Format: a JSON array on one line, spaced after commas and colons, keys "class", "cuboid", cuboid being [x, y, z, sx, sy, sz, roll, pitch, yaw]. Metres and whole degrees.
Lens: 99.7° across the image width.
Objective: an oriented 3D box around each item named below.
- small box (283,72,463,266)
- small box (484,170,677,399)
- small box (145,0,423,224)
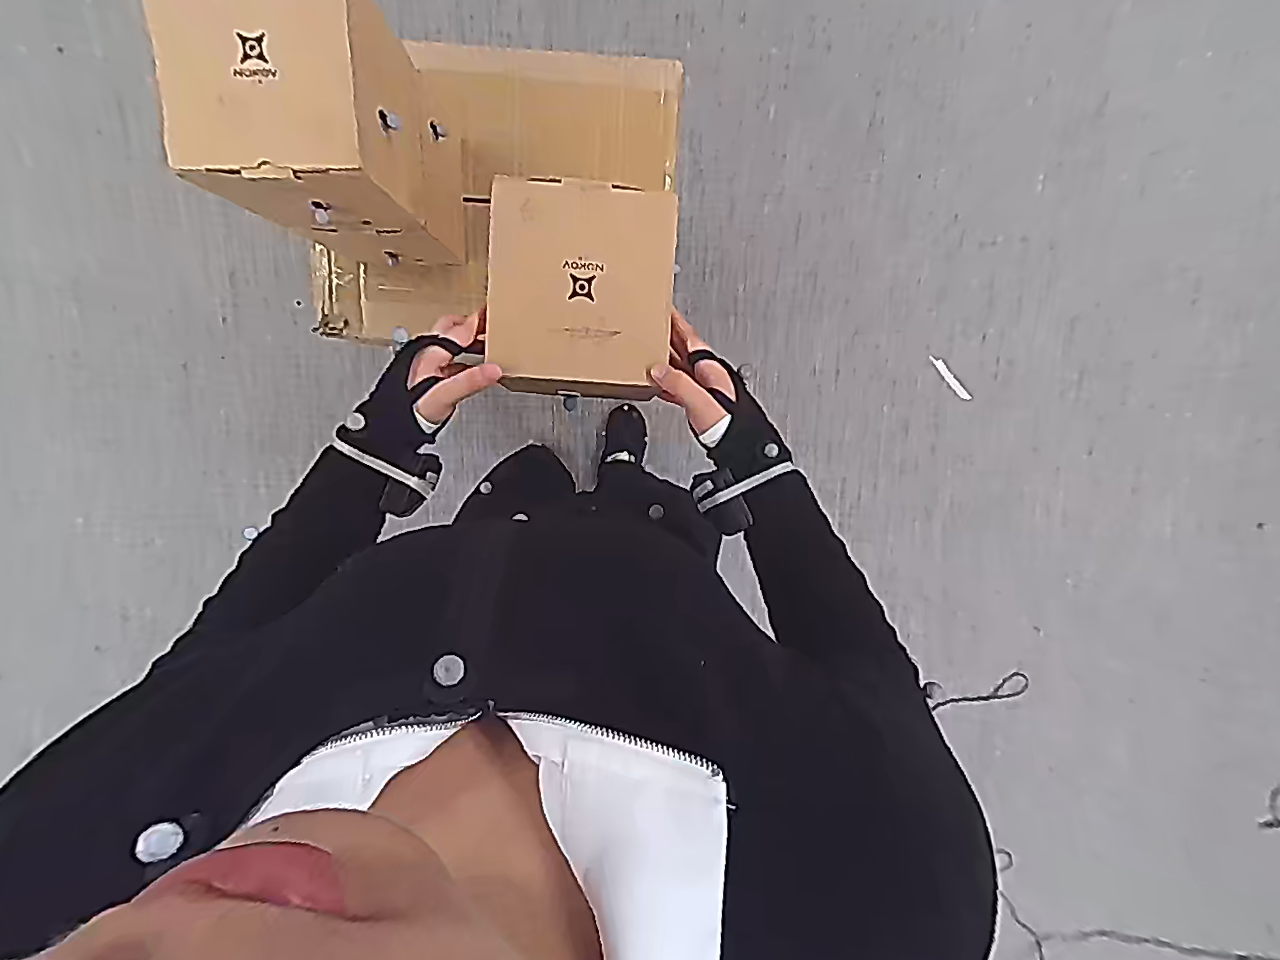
[{"class": "small box", "cuboid": [-0.335, -0.390, 0.698, 0.168, 0.176, 0.179, 0, 100, -3]}, {"class": "small box", "cuboid": [-0.060, -0.184, 0.561, 0.168, 0.176, 0.179, 3, 93, -5]}, {"class": "small box", "cuboid": [-0.328, -0.365, 0.536, 0.168, 0.176, 0.179, -1, 100, -3]}]
